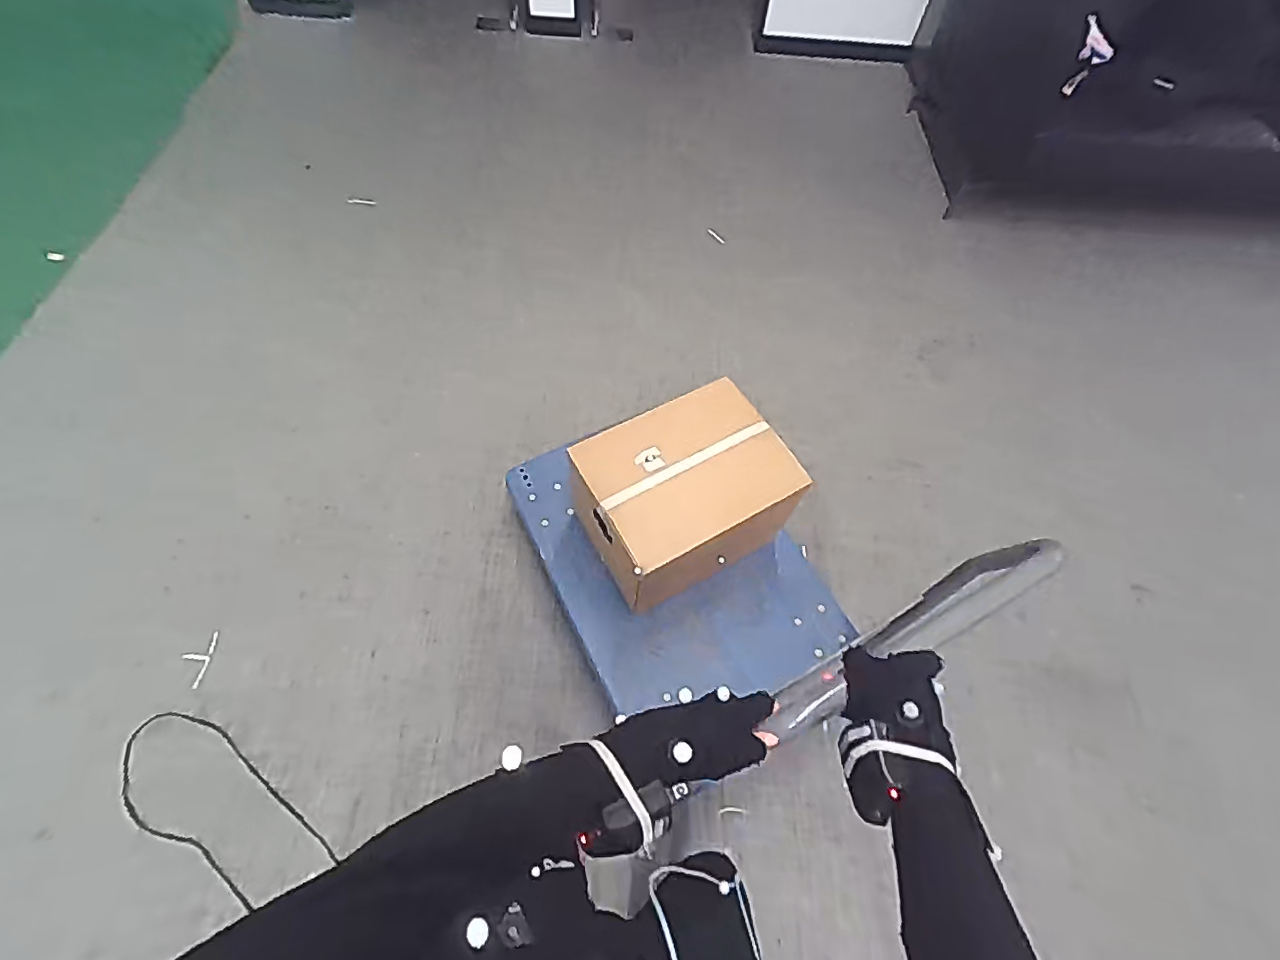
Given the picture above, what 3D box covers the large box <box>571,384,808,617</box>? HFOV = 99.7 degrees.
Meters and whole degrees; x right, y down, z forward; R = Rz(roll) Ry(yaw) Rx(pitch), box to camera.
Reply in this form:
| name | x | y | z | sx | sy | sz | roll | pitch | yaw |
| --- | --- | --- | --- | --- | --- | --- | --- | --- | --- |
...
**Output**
| name | x | y | z | sx | sy | sz | roll | pitch | yaw |
| --- | --- | --- | --- | --- | --- | --- | --- | --- | --- |
| large box | 0.097 | 0.054 | 1.240 | 0.408 | 0.320 | 0.320 | -28 | 66 | -16 |
